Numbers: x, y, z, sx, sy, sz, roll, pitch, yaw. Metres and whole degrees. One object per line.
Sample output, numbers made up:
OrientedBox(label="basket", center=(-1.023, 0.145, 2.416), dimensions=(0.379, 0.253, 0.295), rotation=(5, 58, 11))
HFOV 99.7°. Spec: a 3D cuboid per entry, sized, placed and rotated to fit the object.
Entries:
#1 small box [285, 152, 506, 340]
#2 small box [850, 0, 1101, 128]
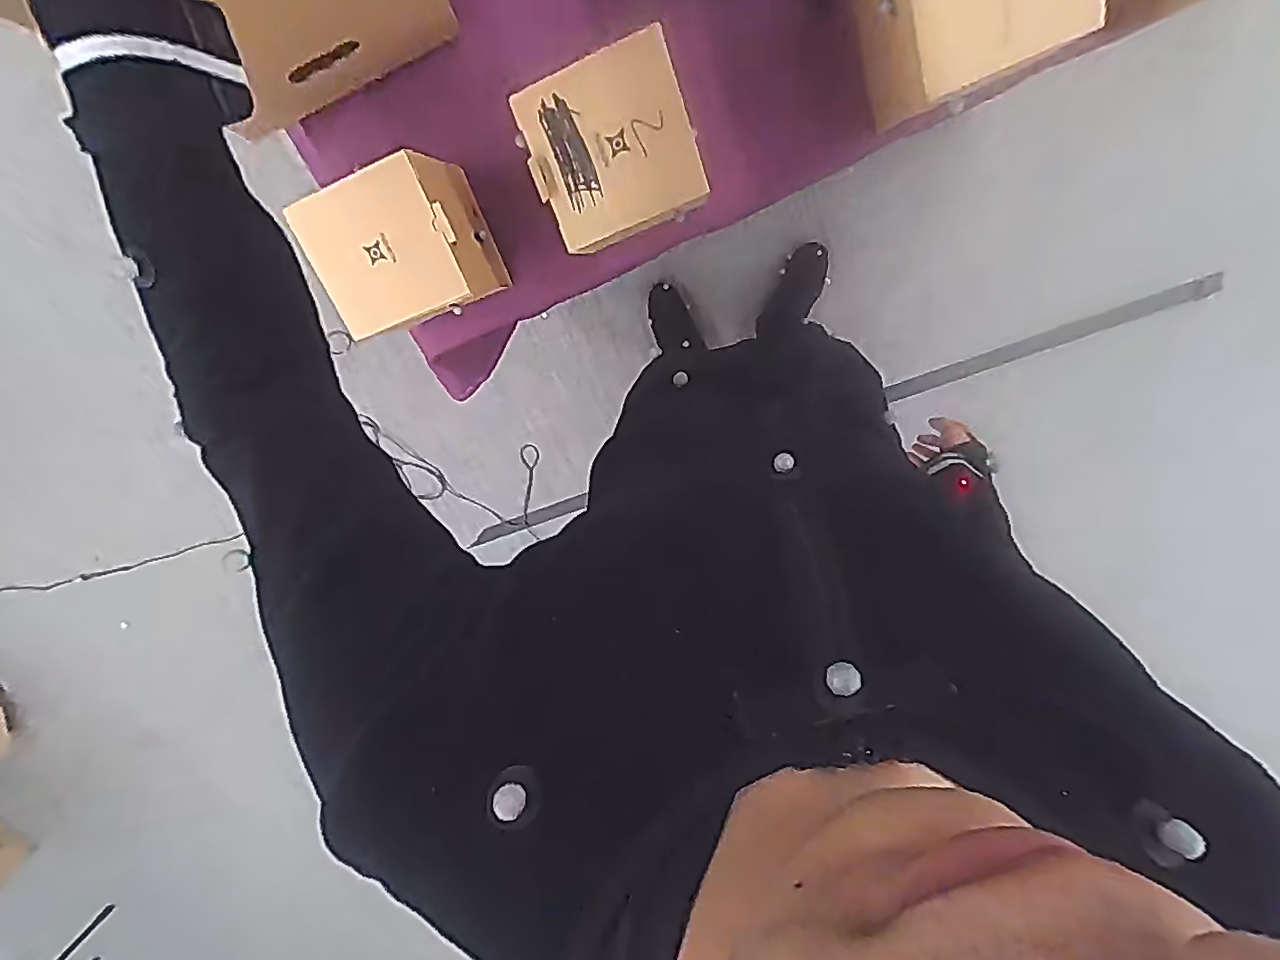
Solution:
OrientedBox(label="small box", center=(-0.308, -0.302, 0.721), dimensions=(0.179, 0.176, 0.168), rotation=(-18, 111, 11))
OrientedBox(label="small box", center=(0.337, -0.514, 0.573), dimensions=(0.168, 0.176, 0.179), rotation=(-18, 111, 13))
